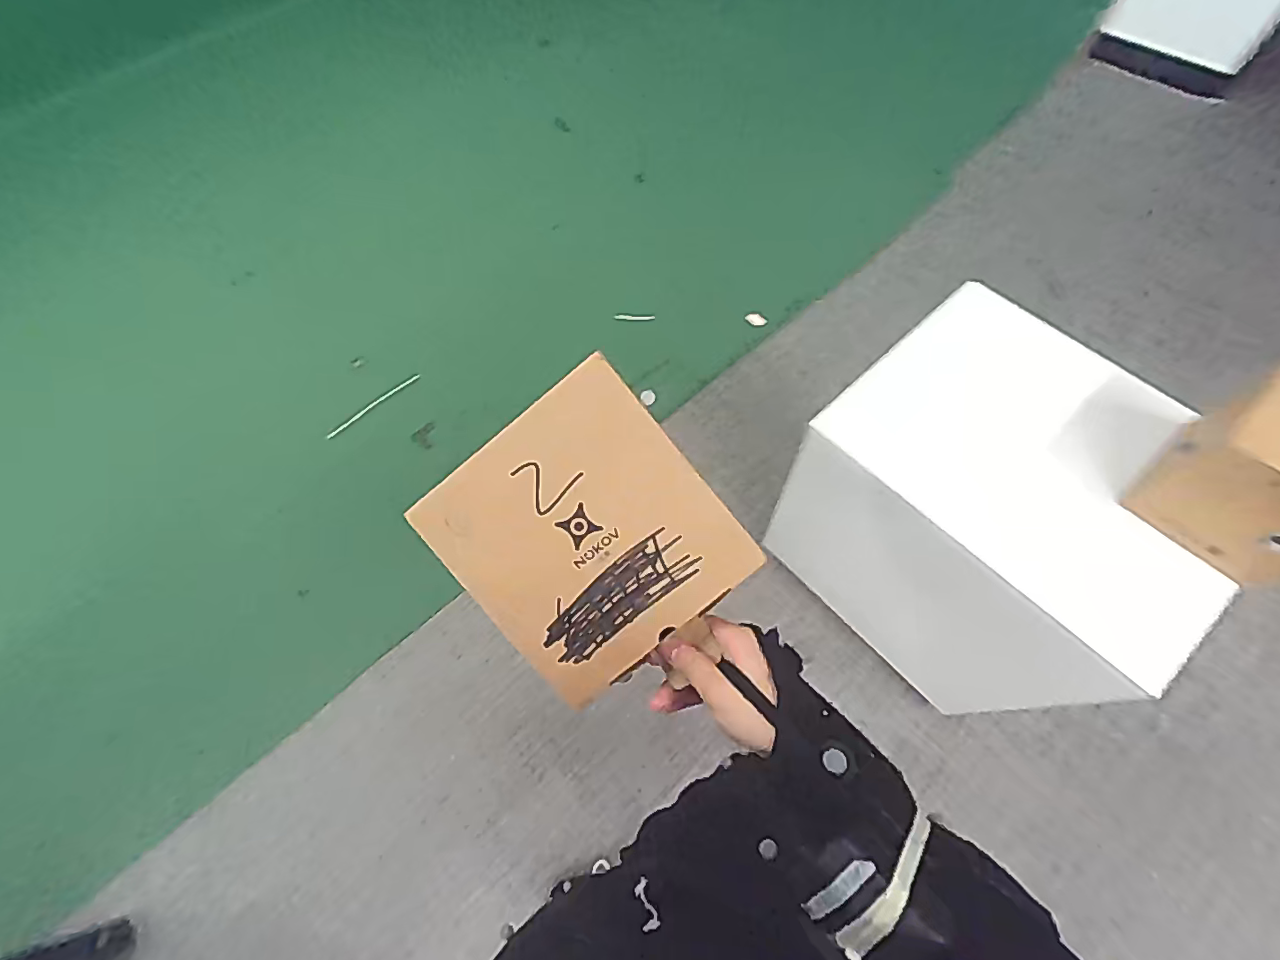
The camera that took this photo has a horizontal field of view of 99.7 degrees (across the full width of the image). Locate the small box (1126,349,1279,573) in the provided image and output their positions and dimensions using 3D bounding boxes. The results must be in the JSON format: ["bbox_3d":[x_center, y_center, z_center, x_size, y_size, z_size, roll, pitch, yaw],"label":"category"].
[{"bbox_3d":[0.735,-0.019,0.632,0.179,0.176,0.168,-40,69,-14],"label":"small box"}]
